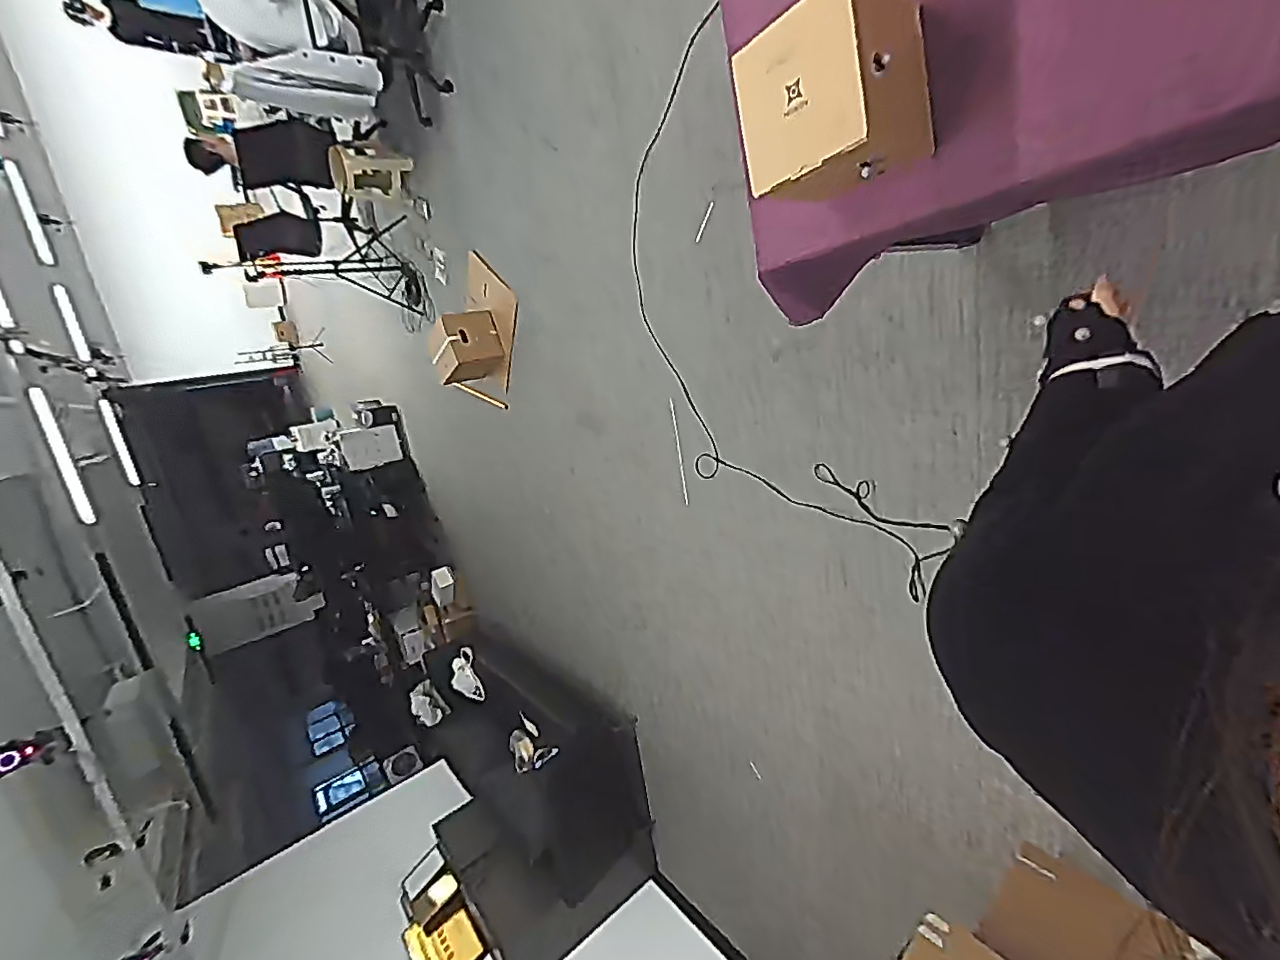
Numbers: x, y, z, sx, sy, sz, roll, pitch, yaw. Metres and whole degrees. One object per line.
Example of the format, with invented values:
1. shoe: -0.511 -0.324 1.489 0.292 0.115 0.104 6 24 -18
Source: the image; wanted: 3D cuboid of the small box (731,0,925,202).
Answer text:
1. small box: 0.246 -0.478 0.696 0.168 0.176 0.179 1 106 51
